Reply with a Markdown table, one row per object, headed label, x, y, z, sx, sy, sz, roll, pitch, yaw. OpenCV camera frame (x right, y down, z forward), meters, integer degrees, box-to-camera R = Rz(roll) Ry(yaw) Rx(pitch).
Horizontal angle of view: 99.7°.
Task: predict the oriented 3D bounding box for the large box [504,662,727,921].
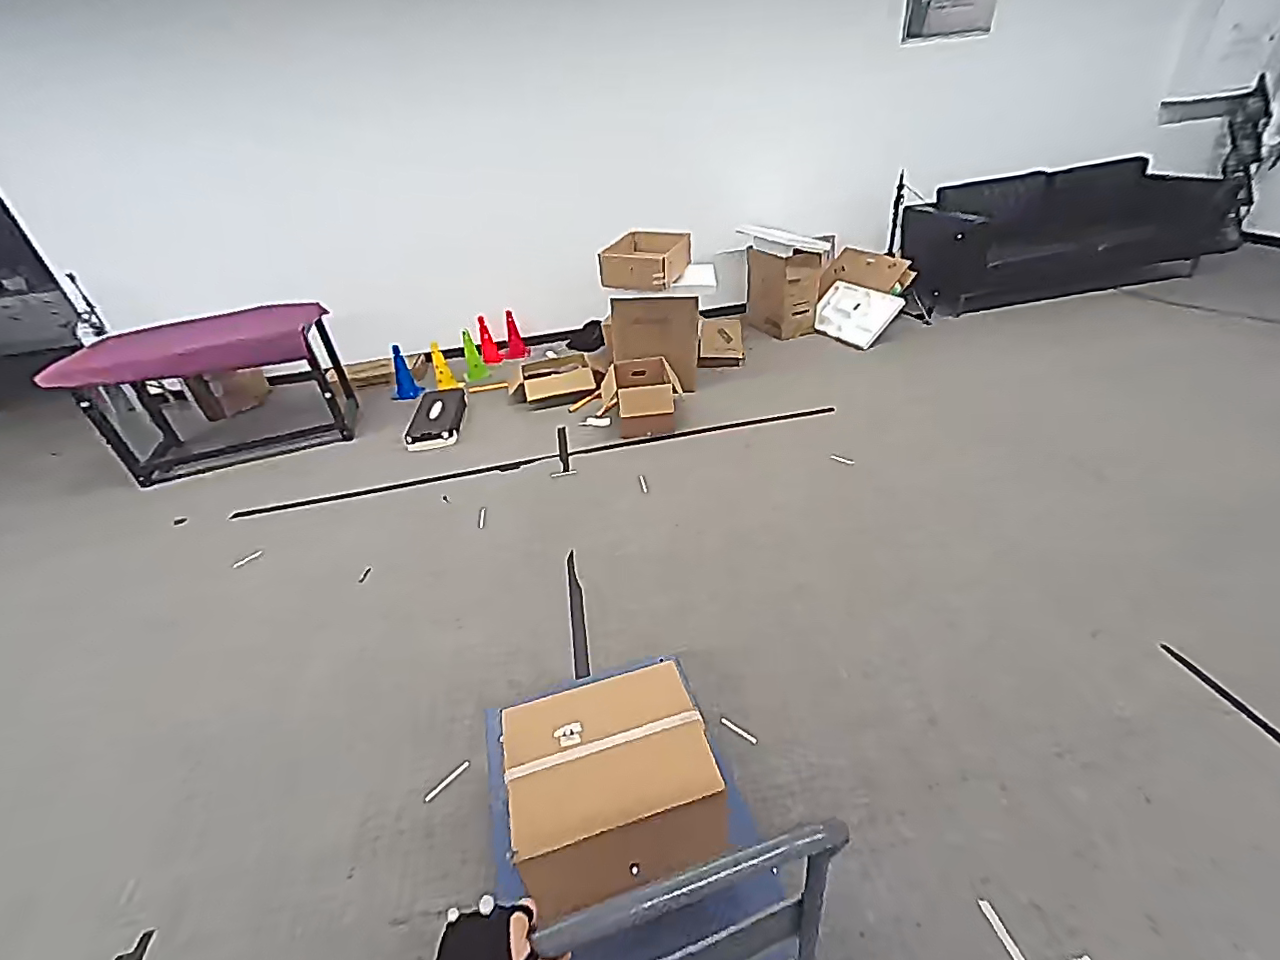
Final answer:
| label | x | y | z | sx | sy | sz | roll | pitch | yaw |
| --- | --- | --- | --- | --- | --- | --- | --- | --- | --- |
| large box | -0.054 | 0.677 | 1.198 | 0.408 | 0.320 | 0.320 | -15 | 33 | -10 |
